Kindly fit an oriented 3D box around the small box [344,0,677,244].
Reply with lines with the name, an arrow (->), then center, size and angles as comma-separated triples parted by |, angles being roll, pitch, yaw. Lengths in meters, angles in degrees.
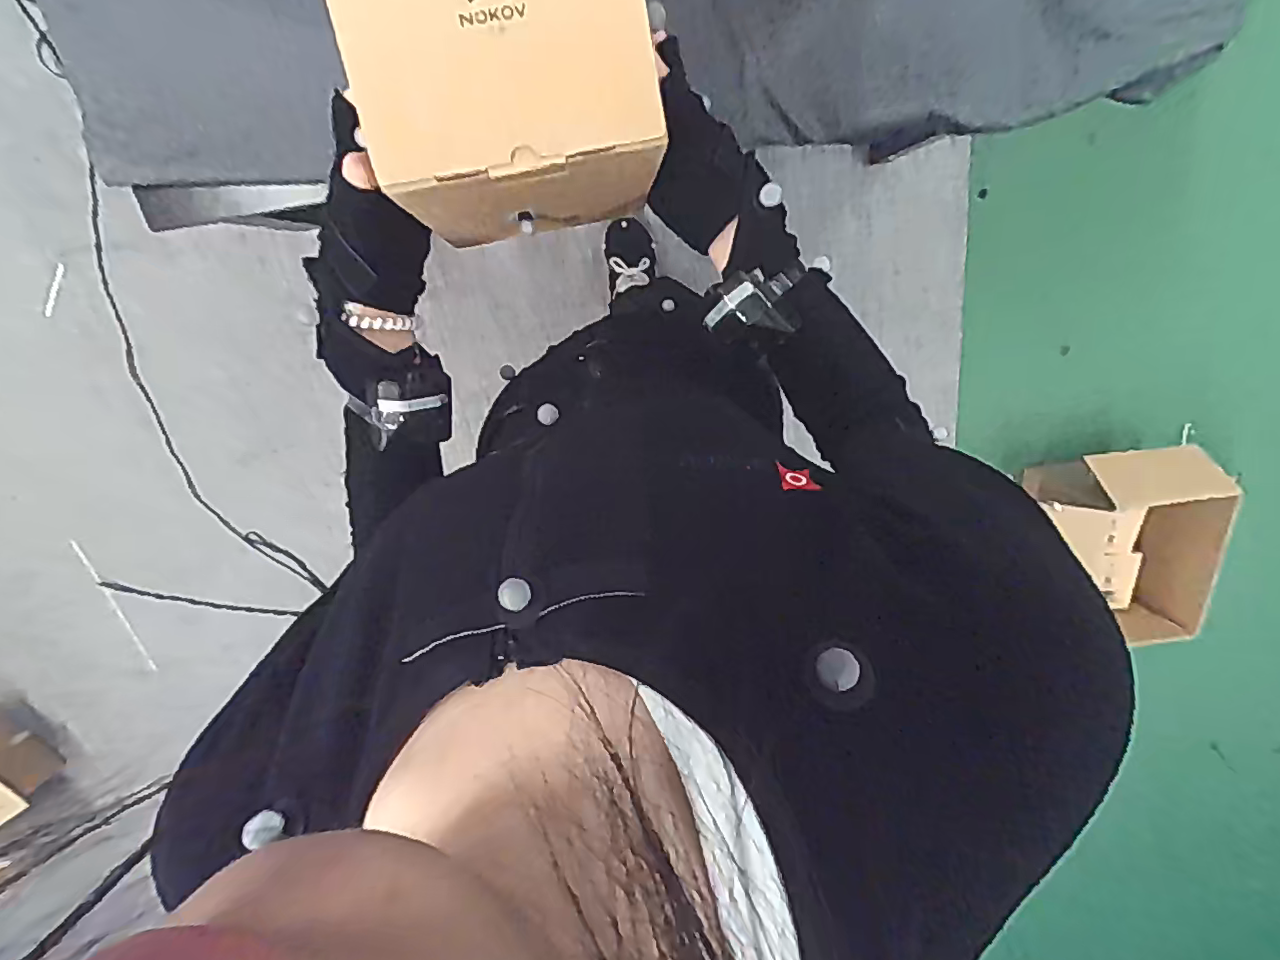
small box -> -0.082, -0.277, 0.363 | 0.168, 0.176, 0.179 | -12, 105, -3
